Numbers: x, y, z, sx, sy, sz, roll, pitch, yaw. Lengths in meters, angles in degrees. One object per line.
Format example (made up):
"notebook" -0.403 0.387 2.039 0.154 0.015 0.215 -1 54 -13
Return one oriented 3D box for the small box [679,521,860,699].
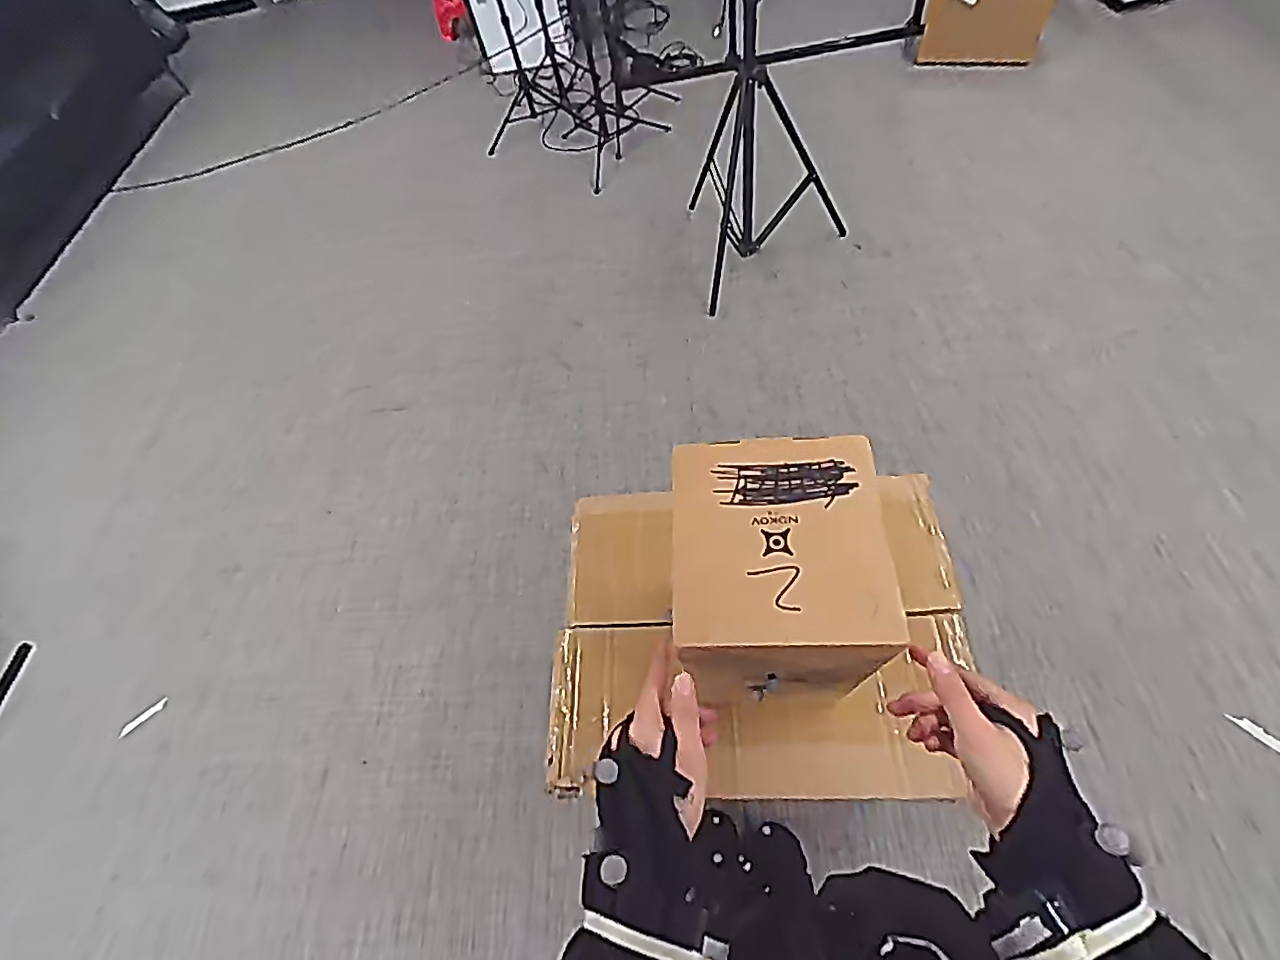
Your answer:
"small box" 0.141 0.159 0.634 0.179 0.176 0.168 -3 60 8
